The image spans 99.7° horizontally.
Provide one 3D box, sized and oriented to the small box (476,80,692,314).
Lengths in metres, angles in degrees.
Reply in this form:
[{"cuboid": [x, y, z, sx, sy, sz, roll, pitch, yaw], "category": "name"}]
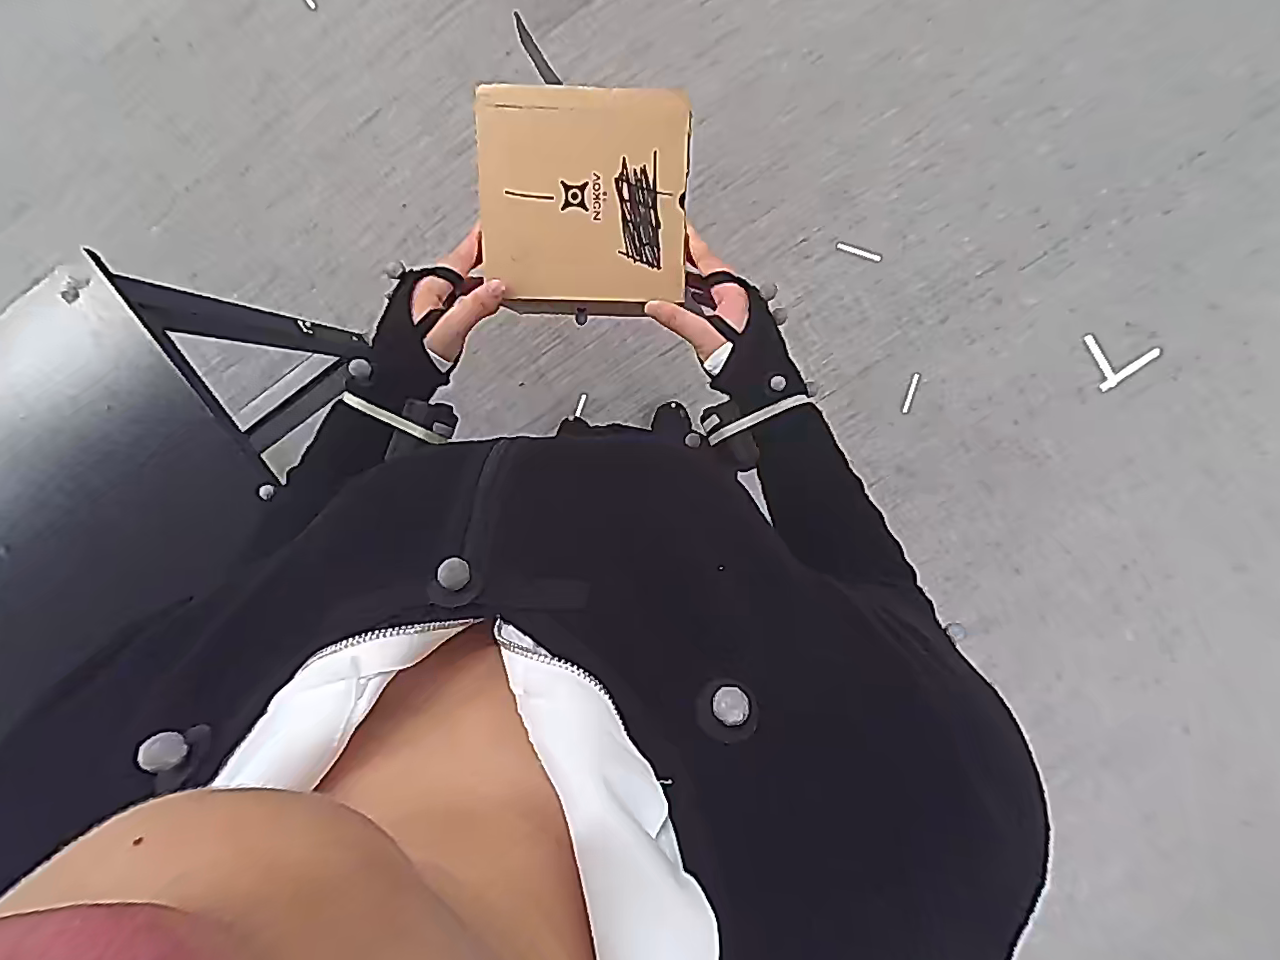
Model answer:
[{"cuboid": [-0.050, -0.256, 0.529, 0.179, 0.176, 0.168, 1, 103, -2], "category": "small box"}]
